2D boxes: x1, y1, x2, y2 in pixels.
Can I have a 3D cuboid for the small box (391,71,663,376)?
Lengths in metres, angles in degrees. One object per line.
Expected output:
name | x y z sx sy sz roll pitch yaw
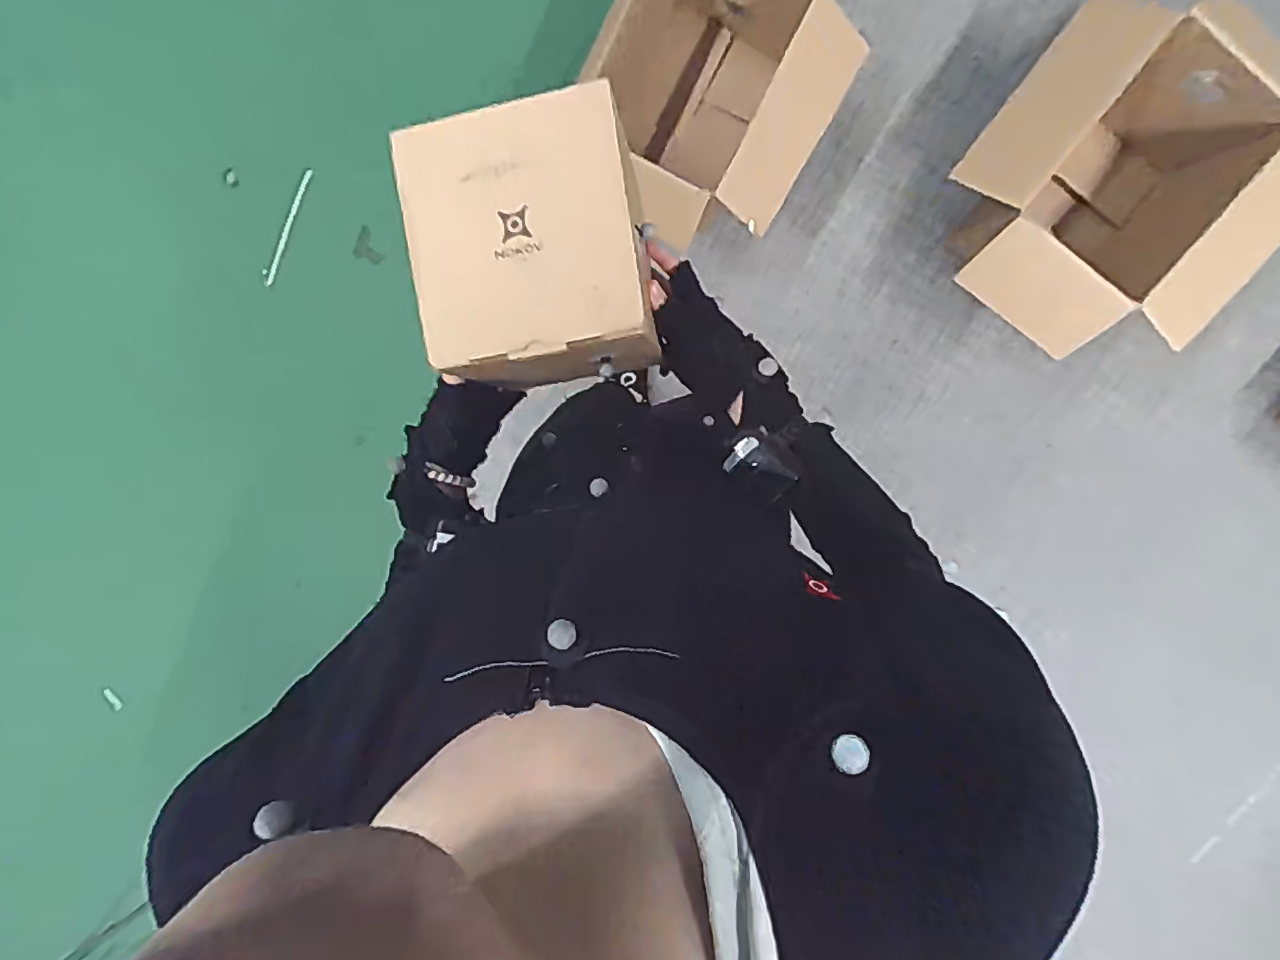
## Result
small box | -0.076 -0.187 0.458 0.168 0.176 0.179 -8 94 7
